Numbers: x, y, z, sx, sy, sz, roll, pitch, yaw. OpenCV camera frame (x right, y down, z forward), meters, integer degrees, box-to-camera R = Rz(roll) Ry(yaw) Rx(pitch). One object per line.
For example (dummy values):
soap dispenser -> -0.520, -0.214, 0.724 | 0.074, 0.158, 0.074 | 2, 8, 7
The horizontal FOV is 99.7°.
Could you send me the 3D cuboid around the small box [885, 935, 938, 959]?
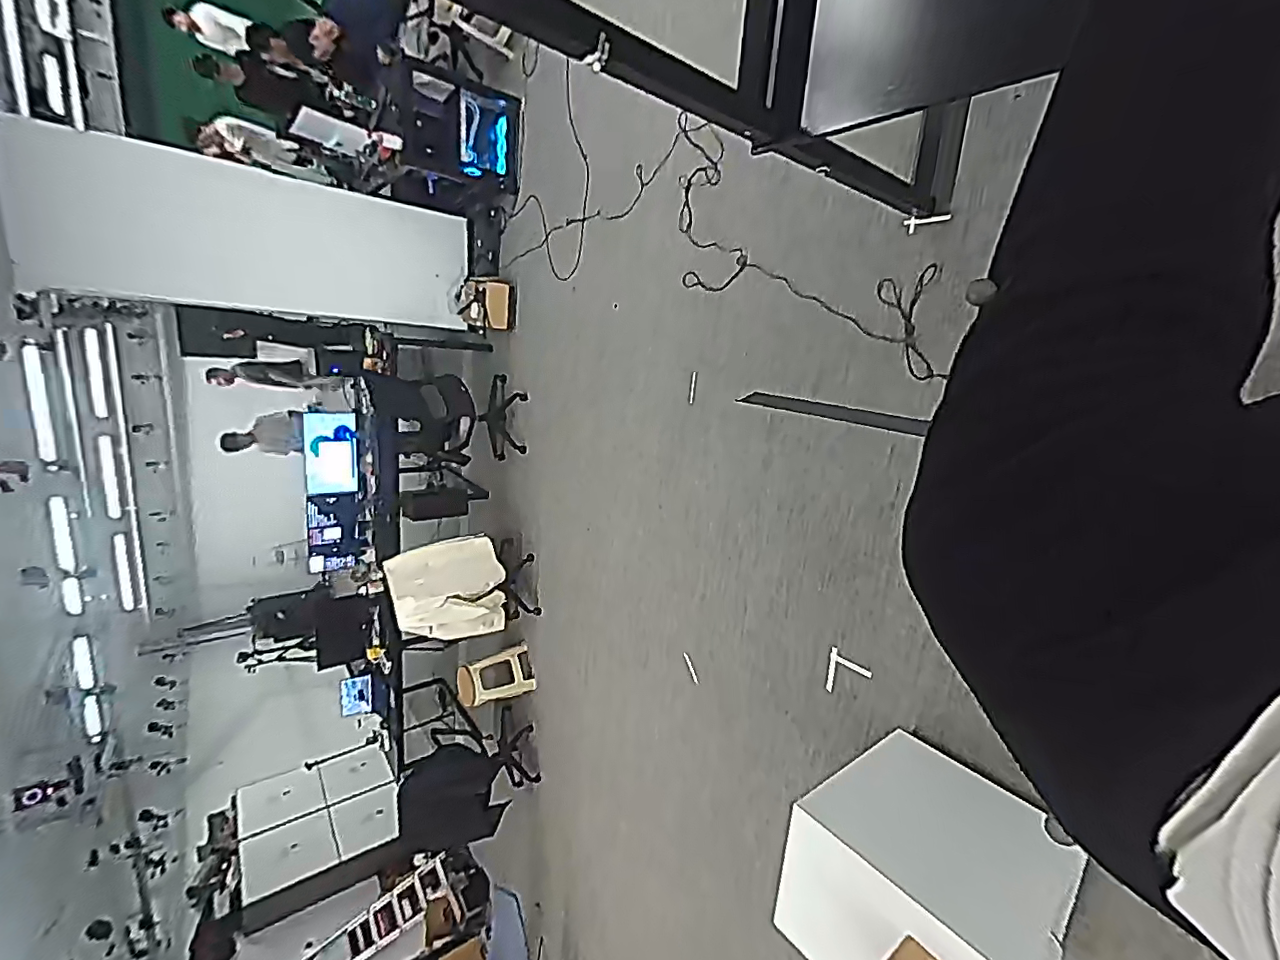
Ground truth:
small box -> 0.565, 1.095, 1.097 | 0.168, 0.176, 0.179 | 21, 112, 49
